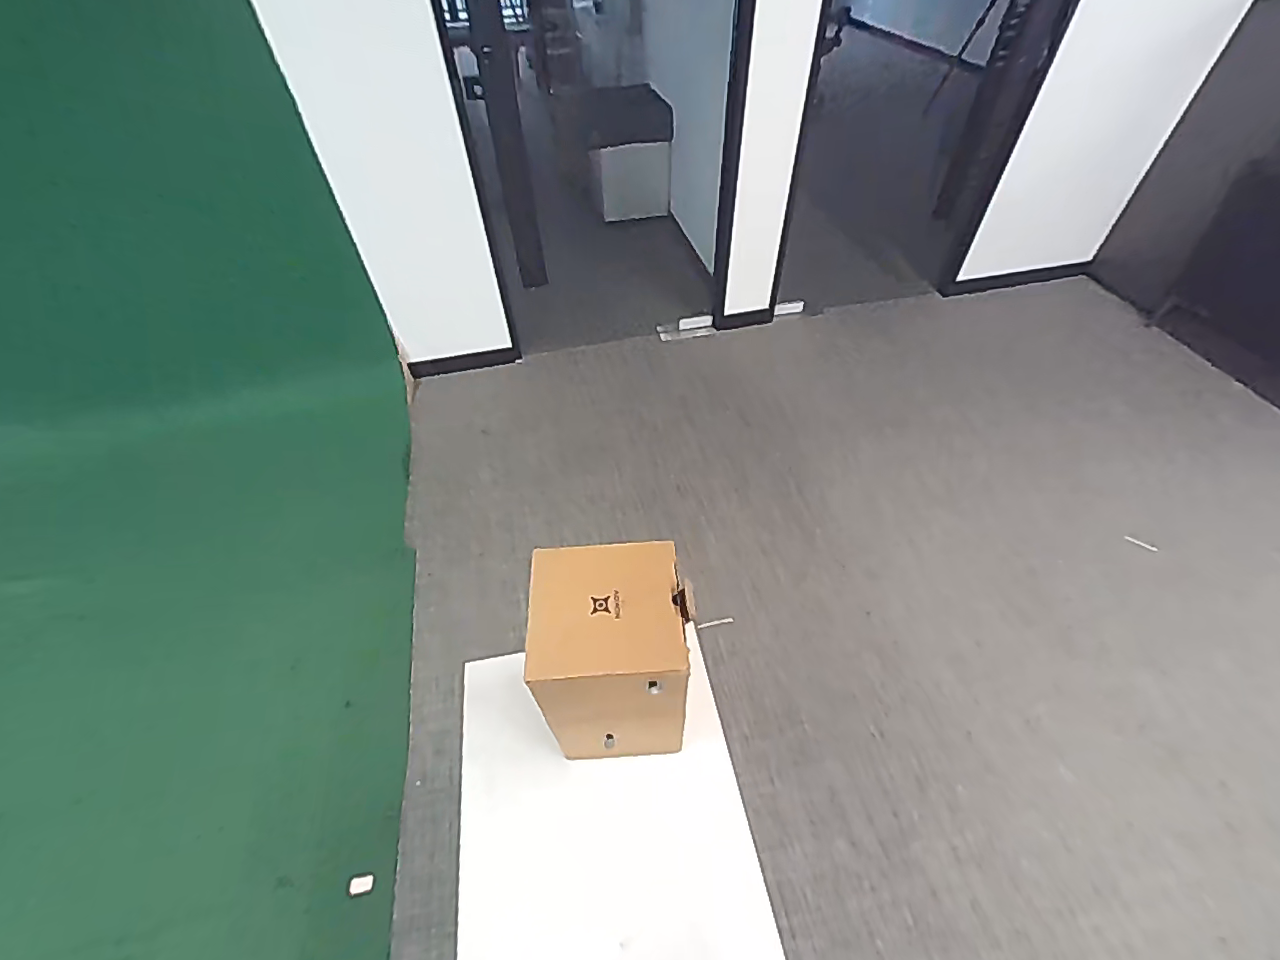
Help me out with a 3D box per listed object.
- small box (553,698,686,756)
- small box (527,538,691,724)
[{"bbox_3d":[-0.026,0.296,0.801,0.179,0.176,0.168,-5,50,-1],"label":"small box"},{"bbox_3d":[-0.035,0.192,0.676,0.179,0.176,0.168,-4,49,-2],"label":"small box"}]
